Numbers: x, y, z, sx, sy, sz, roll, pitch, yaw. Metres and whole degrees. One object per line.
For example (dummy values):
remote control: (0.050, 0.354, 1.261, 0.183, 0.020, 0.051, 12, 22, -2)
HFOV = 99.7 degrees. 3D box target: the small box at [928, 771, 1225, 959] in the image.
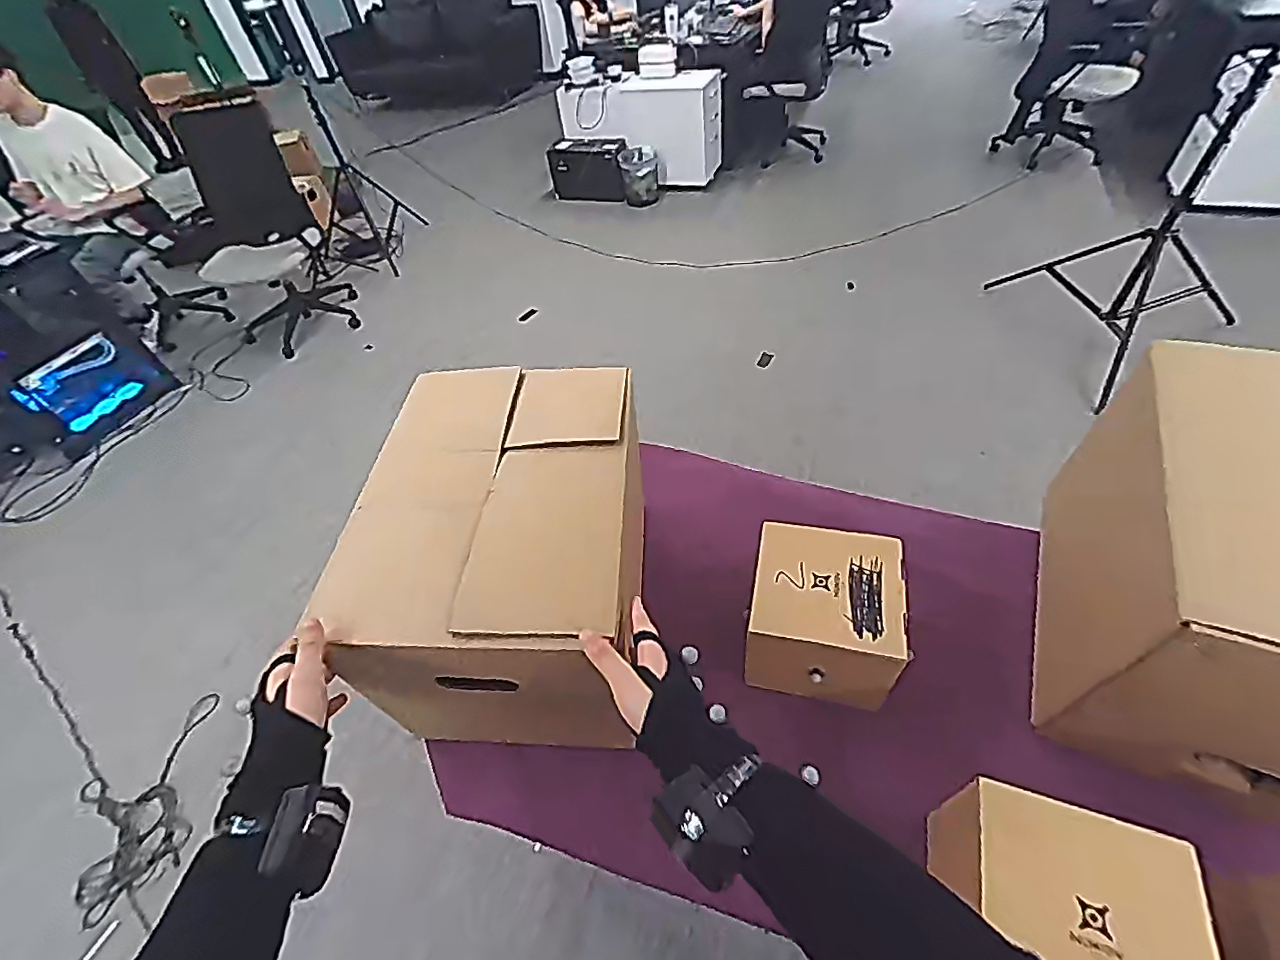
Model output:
small box: (0.374, 0.403, 0.491, 0.168, 0.176, 0.179, 11, 52, 18)
